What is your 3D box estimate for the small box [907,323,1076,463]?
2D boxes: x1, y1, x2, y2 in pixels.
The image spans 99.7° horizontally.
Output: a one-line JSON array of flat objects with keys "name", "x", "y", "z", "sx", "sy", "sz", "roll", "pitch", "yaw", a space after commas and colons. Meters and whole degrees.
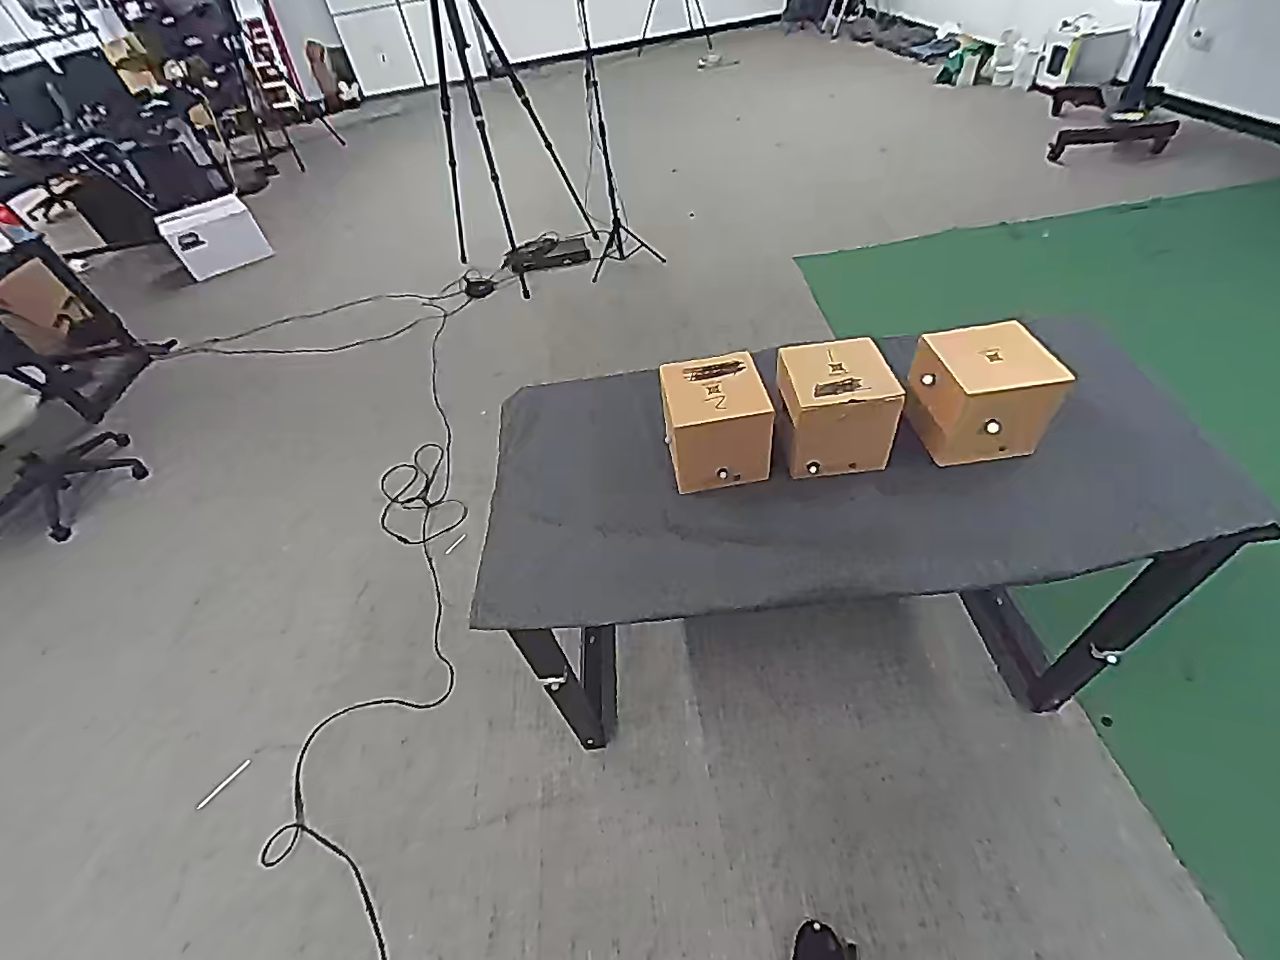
[{"name": "small box", "x": 0.592, "y": -0.143, "z": 0.939, "sx": 0.168, "sy": 0.176, "sz": 0.179, "roll": -8, "pitch": 46, "yaw": 3}]
